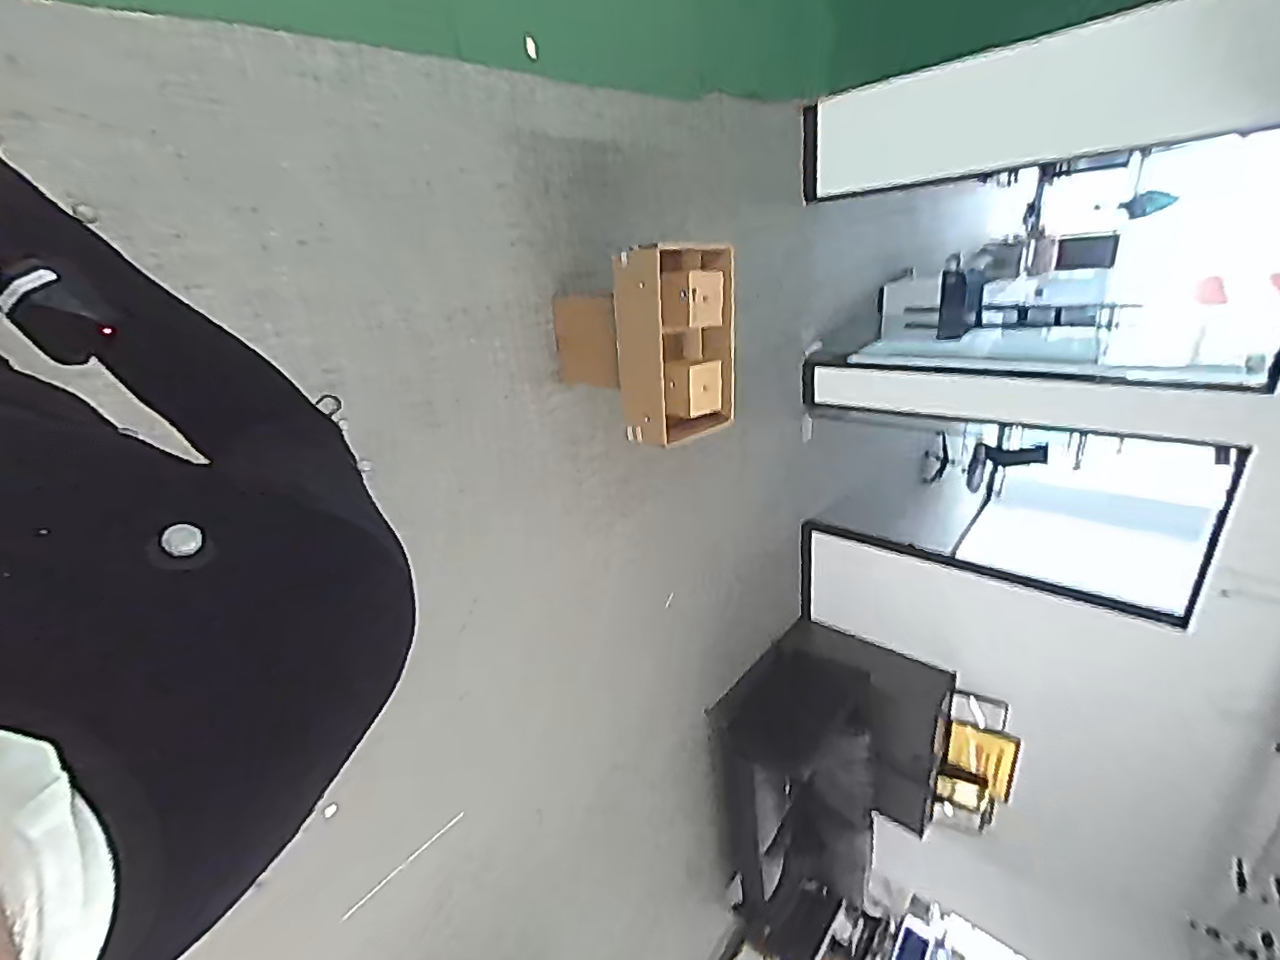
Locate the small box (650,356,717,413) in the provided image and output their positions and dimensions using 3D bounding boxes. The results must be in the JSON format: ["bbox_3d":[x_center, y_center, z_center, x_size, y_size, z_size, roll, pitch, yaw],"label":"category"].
[{"bbox_3d":[0.144,-0.331,1.846,0.179,0.176,0.168,-23,118,-43],"label":"small box"}]

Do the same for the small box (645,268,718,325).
[{"bbox_3d":[0.135,-0.593,1.752,0.179,0.176,0.168,-20,115,-44],"label":"small box"}]
